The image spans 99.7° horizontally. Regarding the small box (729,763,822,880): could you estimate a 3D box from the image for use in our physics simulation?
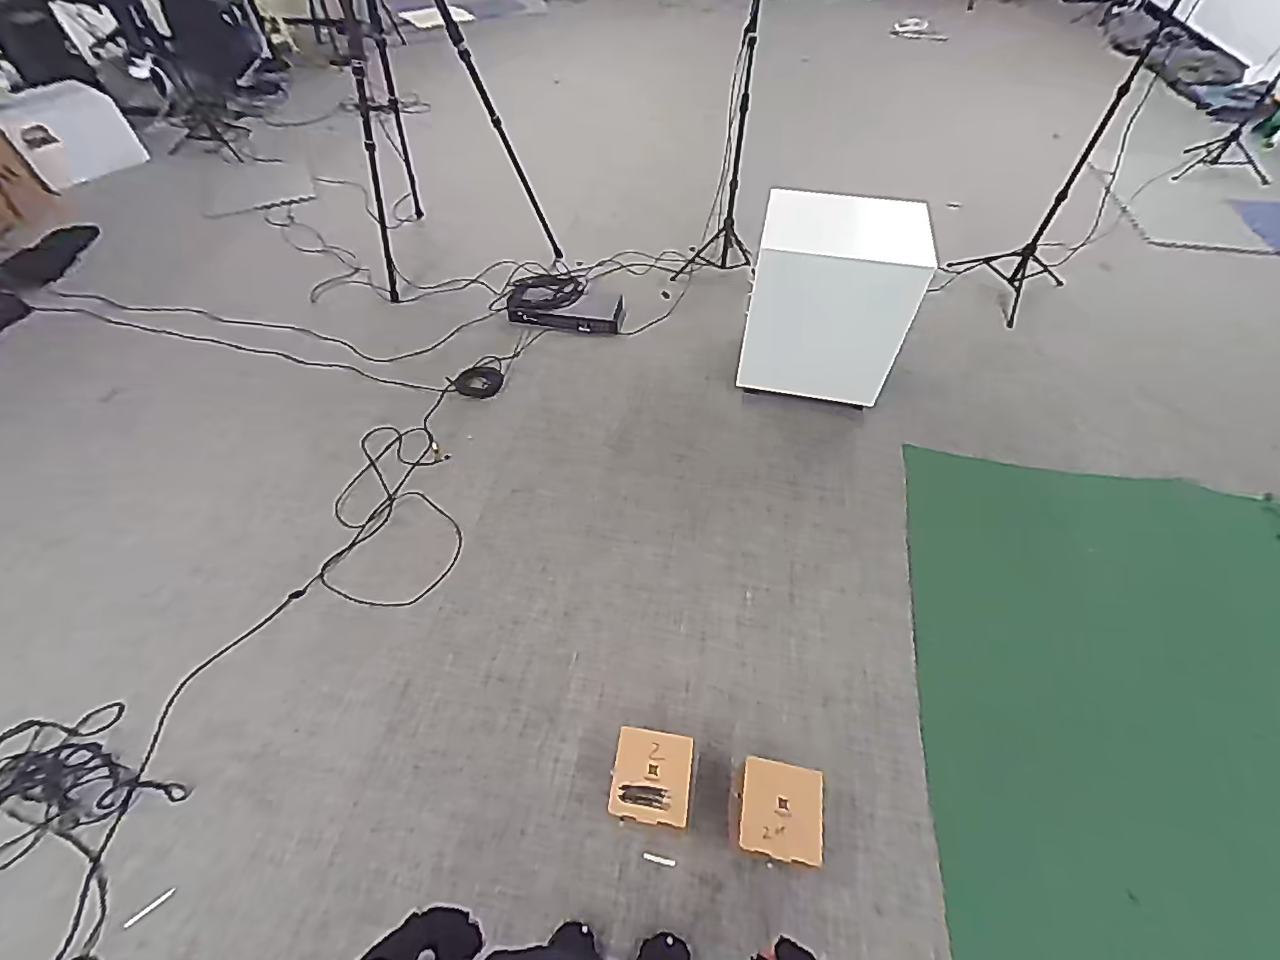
[{"bbox_3d":[0.294,0.750,1.185,0.168,0.176,0.179,9,53,8],"label":"small box"}]
